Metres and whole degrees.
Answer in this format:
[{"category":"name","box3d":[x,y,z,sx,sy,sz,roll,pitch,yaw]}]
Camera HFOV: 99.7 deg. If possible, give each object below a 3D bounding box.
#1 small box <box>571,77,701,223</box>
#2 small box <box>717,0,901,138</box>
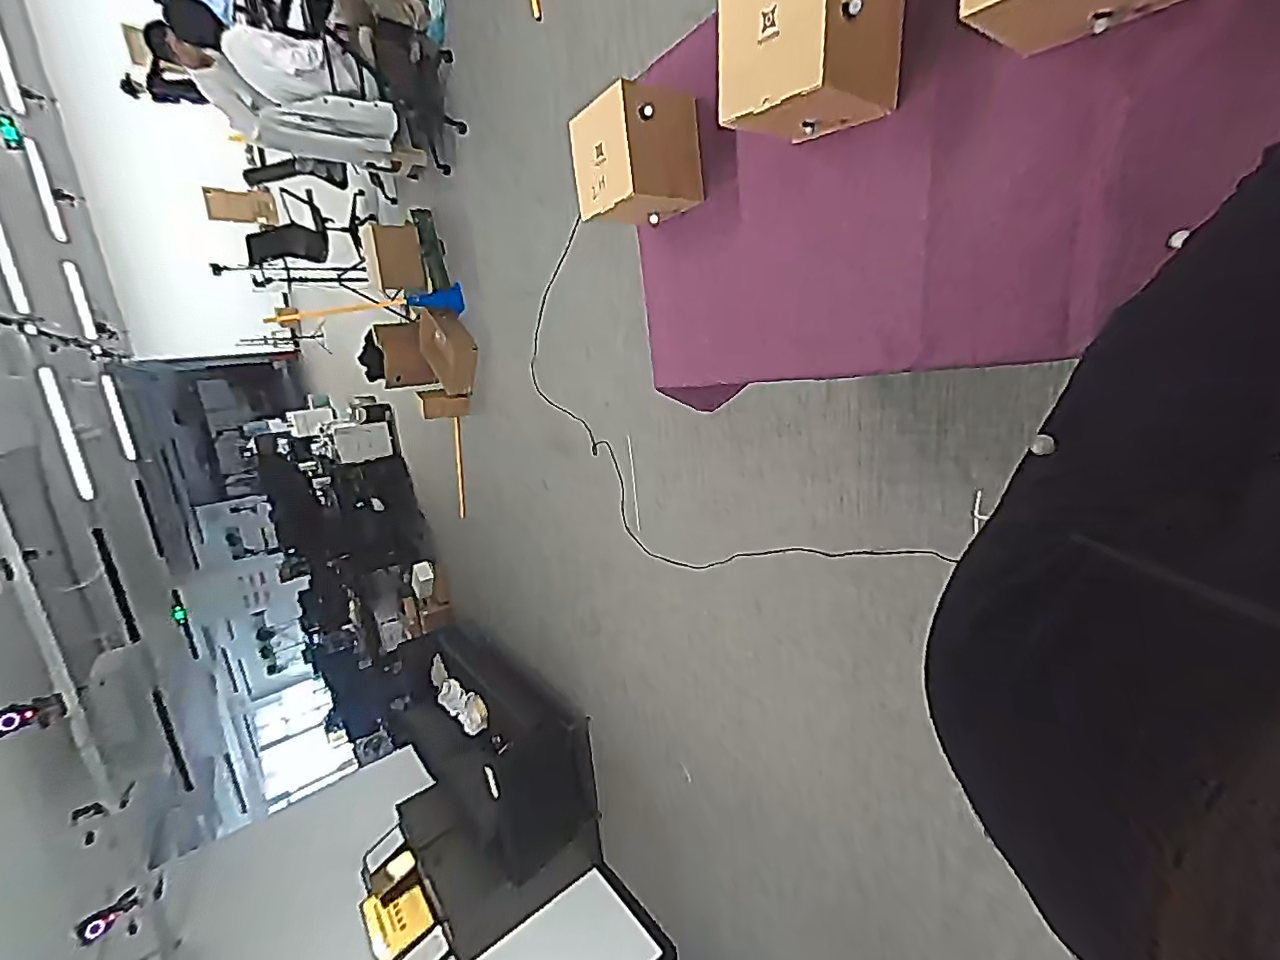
[{"category":"small box","box3d":[-0.005,-0.592,0.998,0.168,0.176,0.179,9,110,52]},{"category":"small box","box3d":[0.219,-0.575,0.707,0.168,0.176,0.179,19,119,49]}]
